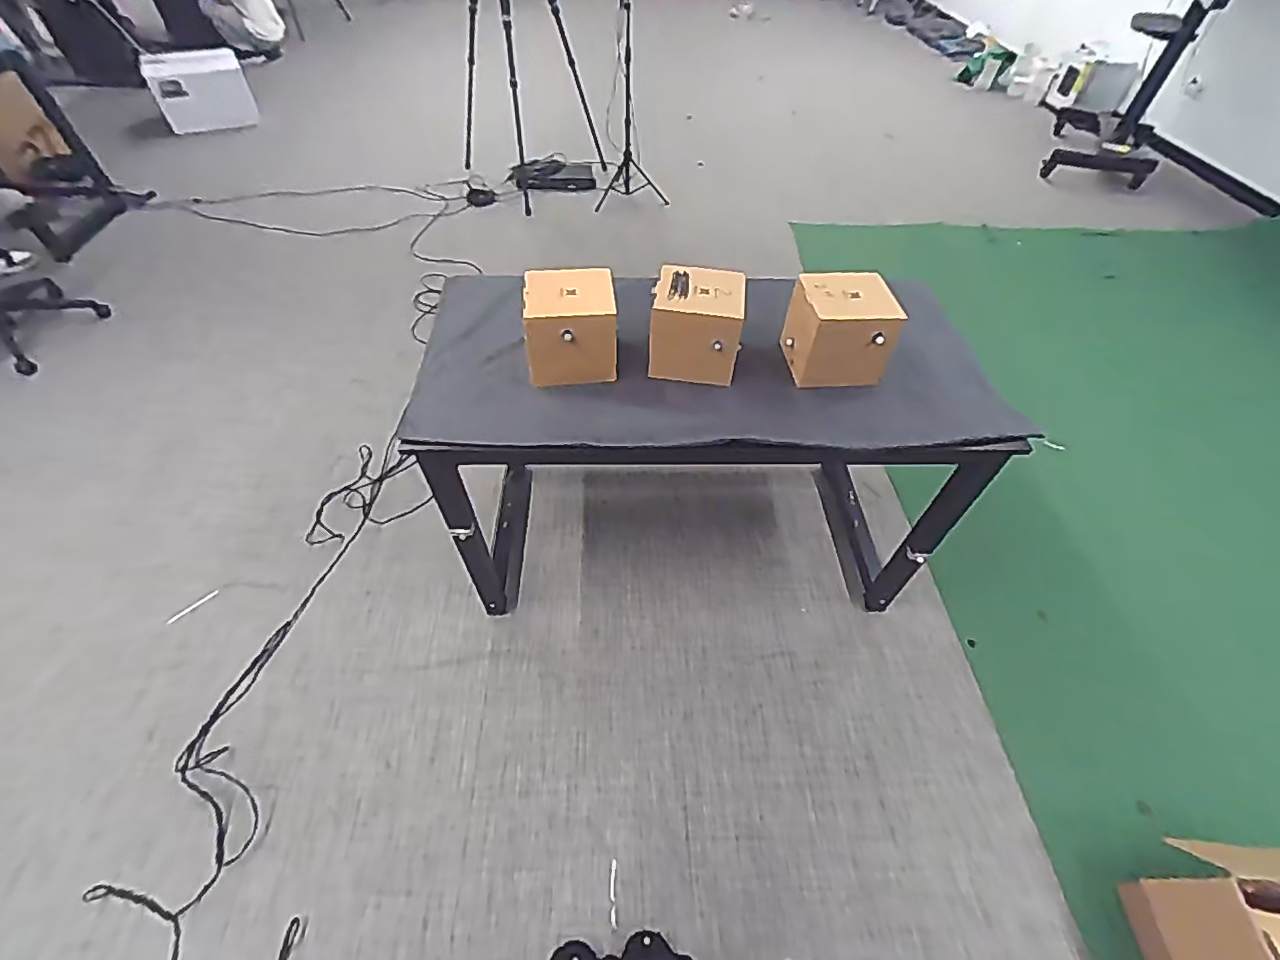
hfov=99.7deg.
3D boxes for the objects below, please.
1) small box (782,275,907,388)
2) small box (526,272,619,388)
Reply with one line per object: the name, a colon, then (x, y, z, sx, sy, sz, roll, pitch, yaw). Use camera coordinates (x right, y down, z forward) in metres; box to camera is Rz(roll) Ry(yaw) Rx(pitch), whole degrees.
small box: (0.415, -0.306, 1.130, 0.179, 0.176, 0.168, -2, 50, -3)
small box: (-0.137, -0.308, 1.117, 0.179, 0.176, 0.168, -5, 51, -5)
